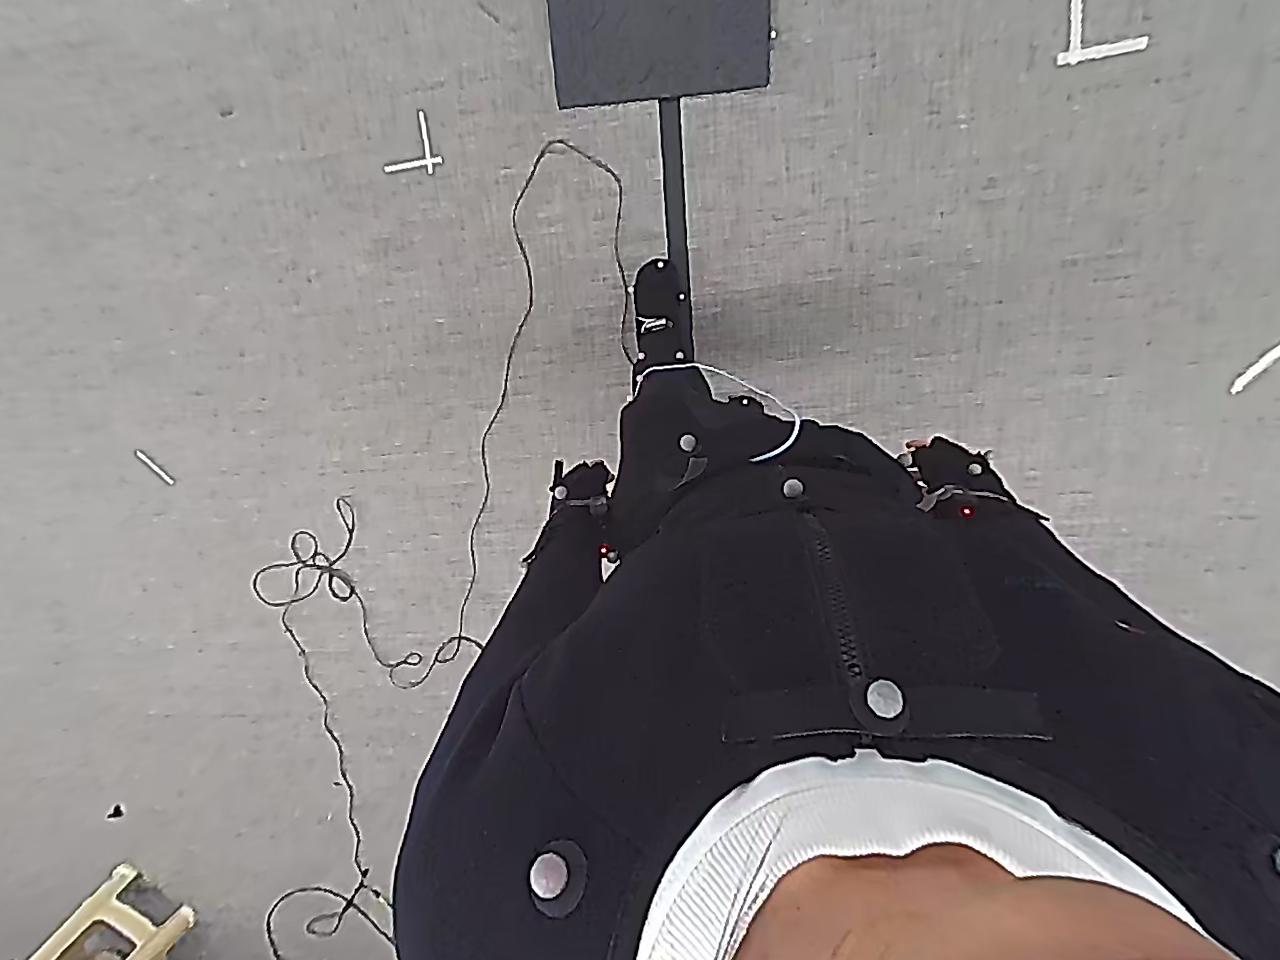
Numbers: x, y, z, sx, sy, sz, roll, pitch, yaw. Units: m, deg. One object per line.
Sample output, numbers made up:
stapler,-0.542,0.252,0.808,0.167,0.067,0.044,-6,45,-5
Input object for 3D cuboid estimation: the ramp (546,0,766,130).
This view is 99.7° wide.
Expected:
ramp,0.007,-1.324,1.104,0.509,0.206,0.991,-5,102,7
